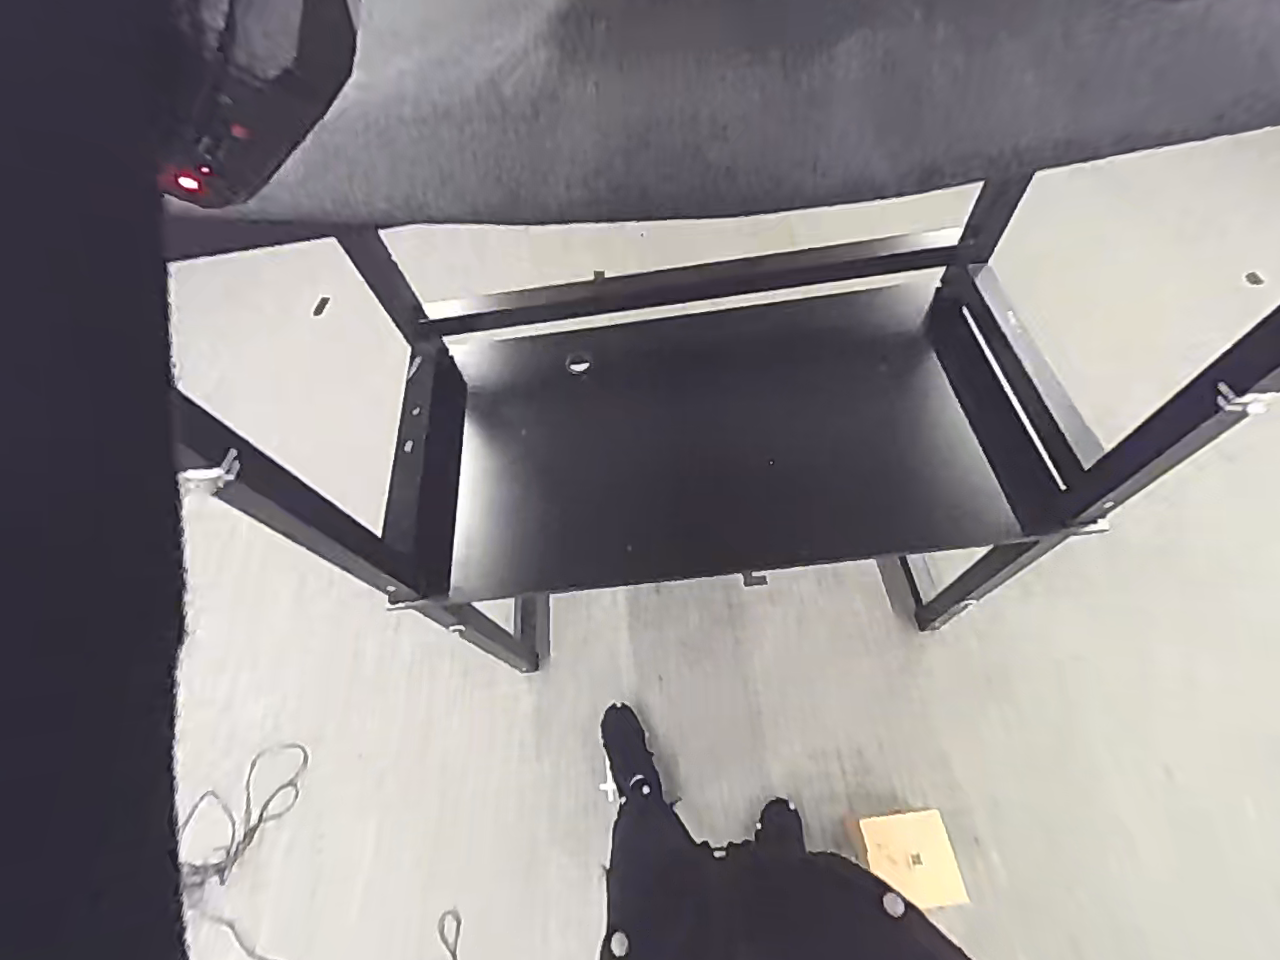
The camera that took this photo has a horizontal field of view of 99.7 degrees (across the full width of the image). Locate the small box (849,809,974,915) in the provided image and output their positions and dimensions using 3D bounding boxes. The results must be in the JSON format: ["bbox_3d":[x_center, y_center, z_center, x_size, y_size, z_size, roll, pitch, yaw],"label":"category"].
[{"bbox_3d":[0.587,0.835,1.196,0.179,0.176,0.168,-9,60,3],"label":"small box"}]
